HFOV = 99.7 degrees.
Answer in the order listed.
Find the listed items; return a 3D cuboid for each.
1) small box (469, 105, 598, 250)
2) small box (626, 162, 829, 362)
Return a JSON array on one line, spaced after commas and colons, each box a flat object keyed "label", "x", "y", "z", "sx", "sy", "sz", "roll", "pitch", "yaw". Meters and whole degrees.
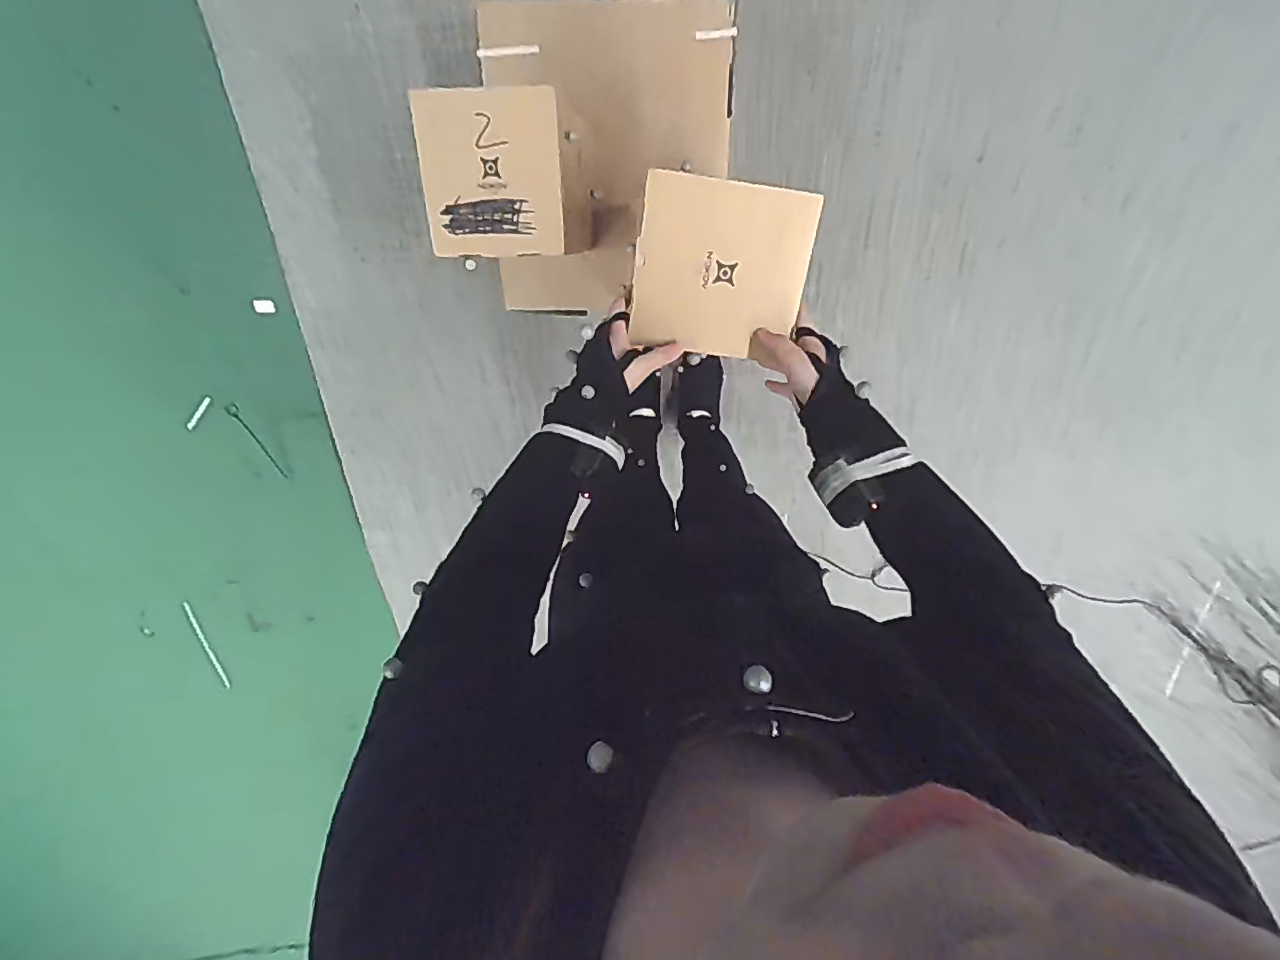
[{"label": "small box", "x": -0.158, "y": -0.462, "z": 0.850, "sx": 0.168, "sy": 0.176, "sz": 0.179, "roll": 4, "pitch": 113, "yaw": 1}, {"label": "small box", "x": 0.081, "y": -0.239, "z": 0.606, "sx": 0.179, "sy": 0.176, "sz": 0.168, "roll": 7, "pitch": 112, "yaw": -2}]
